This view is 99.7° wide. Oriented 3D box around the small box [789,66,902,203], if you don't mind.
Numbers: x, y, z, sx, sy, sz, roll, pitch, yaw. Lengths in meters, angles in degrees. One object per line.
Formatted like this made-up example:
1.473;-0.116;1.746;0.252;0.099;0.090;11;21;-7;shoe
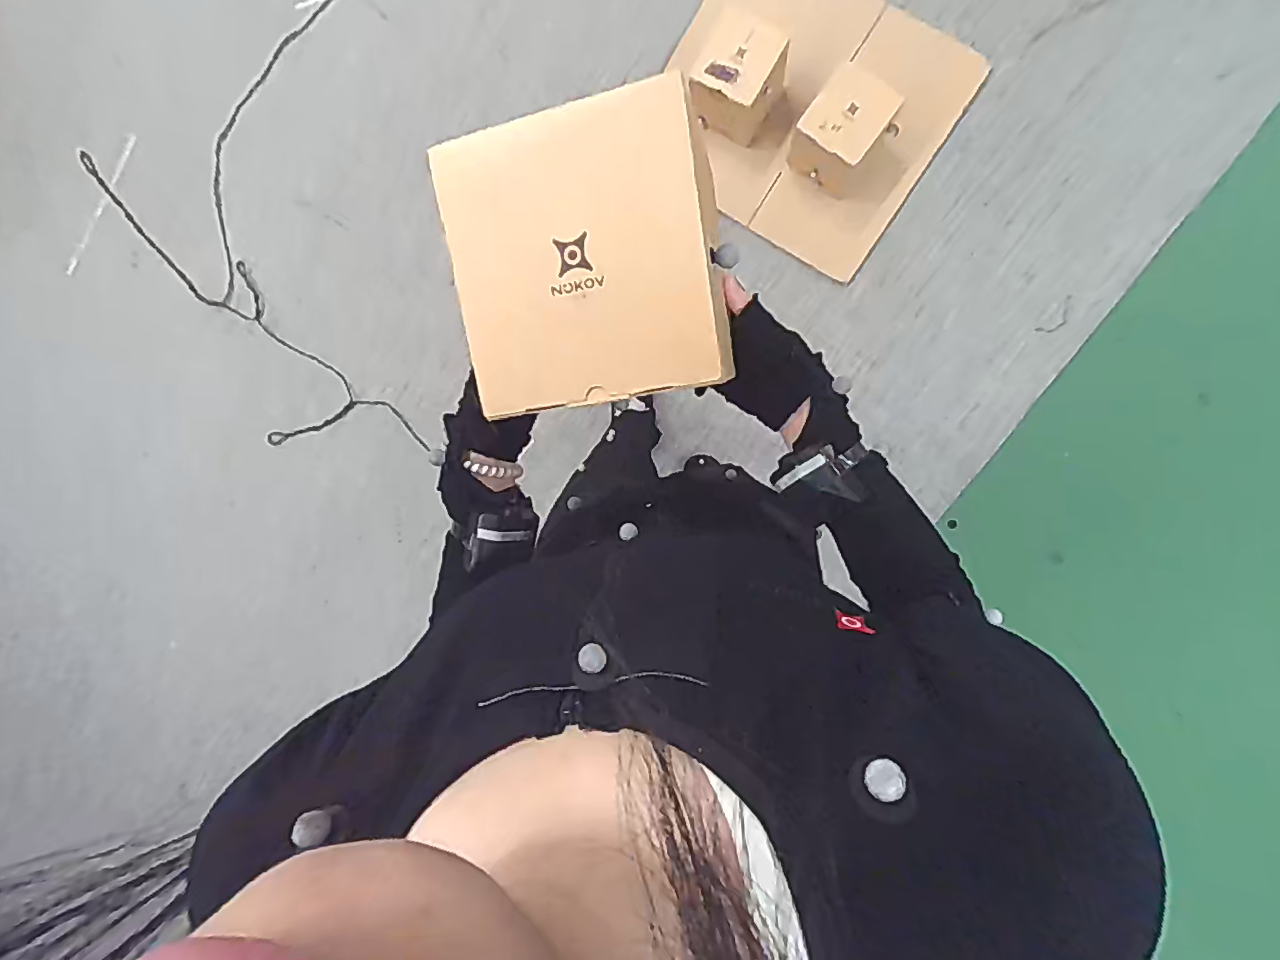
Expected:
0.471;-0.804;1.277;0.168;0.176;0.179;38;98;5;small box

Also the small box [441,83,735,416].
-0.020;-0.152;0.418;0.168;0.176;0.179;-7;101;14;small box

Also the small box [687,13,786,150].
0.229;-0.943;1.299;0.168;0.176;0.179;31;97;5;small box
